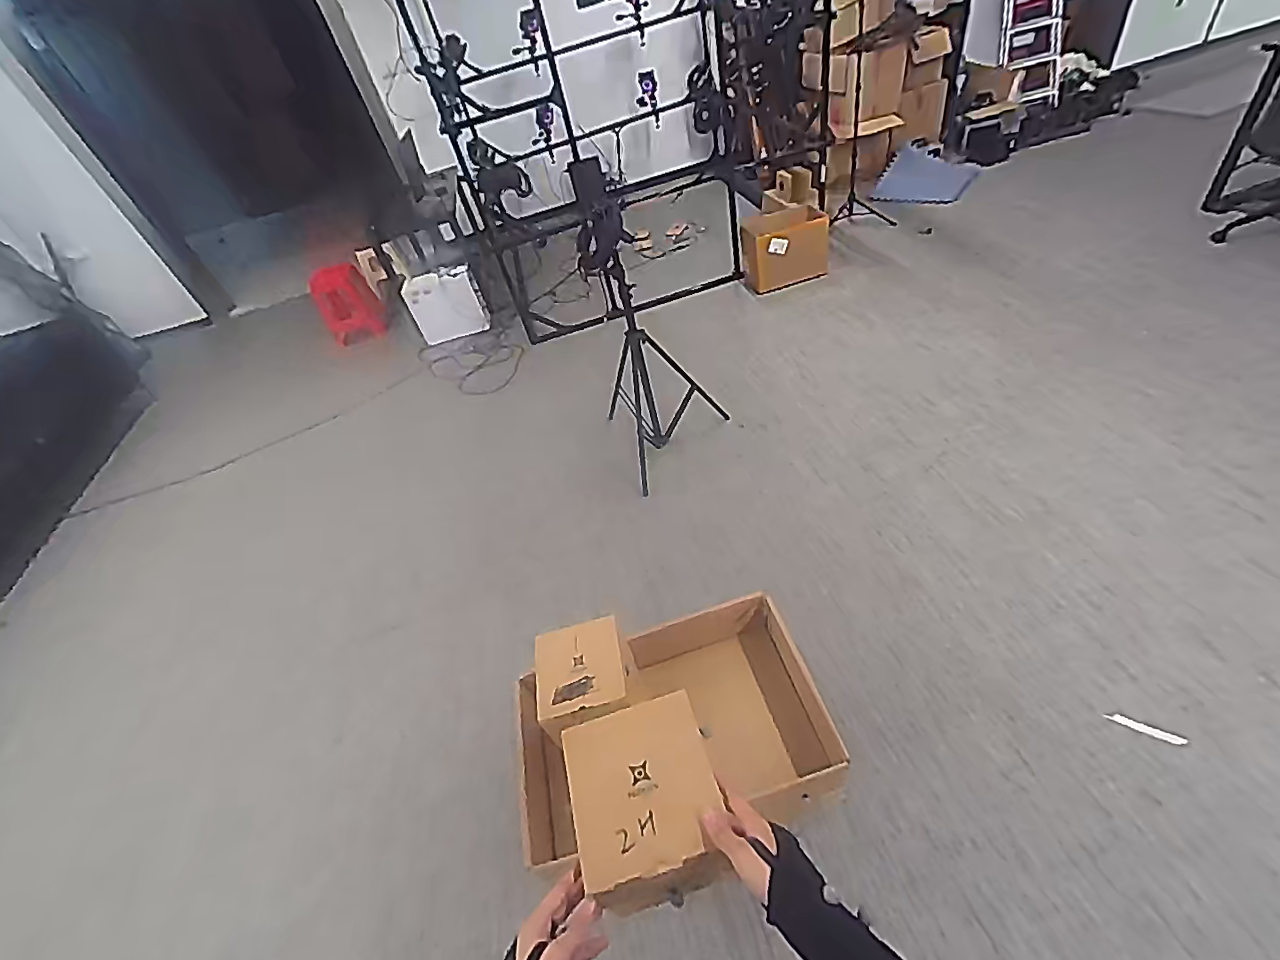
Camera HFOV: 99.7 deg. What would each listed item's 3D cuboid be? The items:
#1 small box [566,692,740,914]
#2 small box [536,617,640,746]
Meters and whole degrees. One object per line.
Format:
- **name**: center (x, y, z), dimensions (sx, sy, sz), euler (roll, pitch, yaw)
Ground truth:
- **small box**: center (0.017, 0.402, 0.675), dimensions (0.168, 0.176, 0.179), euler (-17, 45, -4)
- **small box**: center (-0.098, 0.404, 1.063), dimensions (0.168, 0.176, 0.179), euler (-15, 43, 1)
